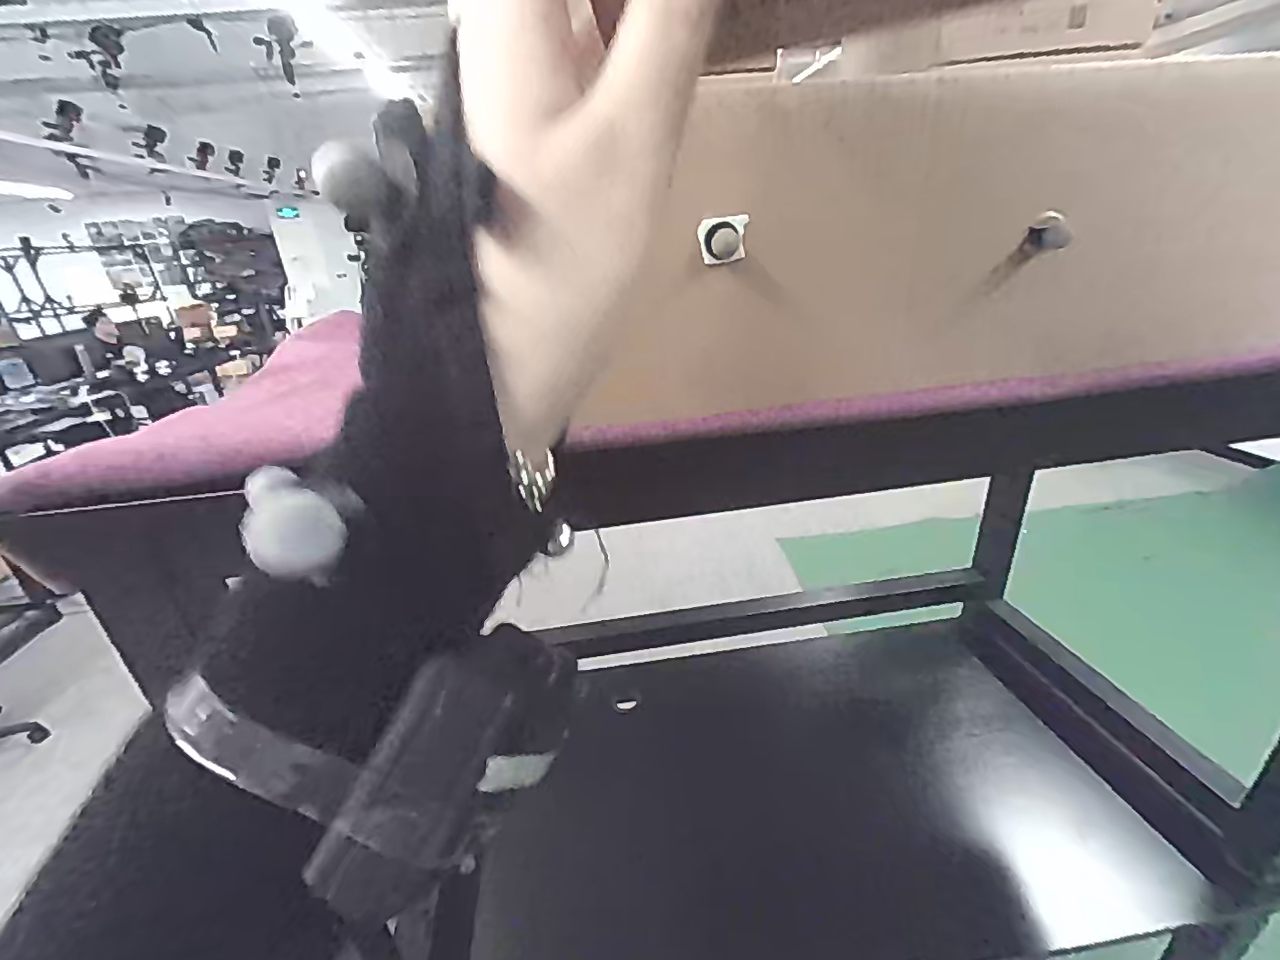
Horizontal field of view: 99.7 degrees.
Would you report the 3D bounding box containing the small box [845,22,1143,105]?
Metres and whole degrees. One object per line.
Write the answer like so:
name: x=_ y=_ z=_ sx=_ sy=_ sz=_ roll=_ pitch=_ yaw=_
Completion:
small box: x=0.281 y=-0.427 z=0.442 sx=0.168 sy=0.176 sz=0.179 roll=-8 pitch=24 yaw=-2
